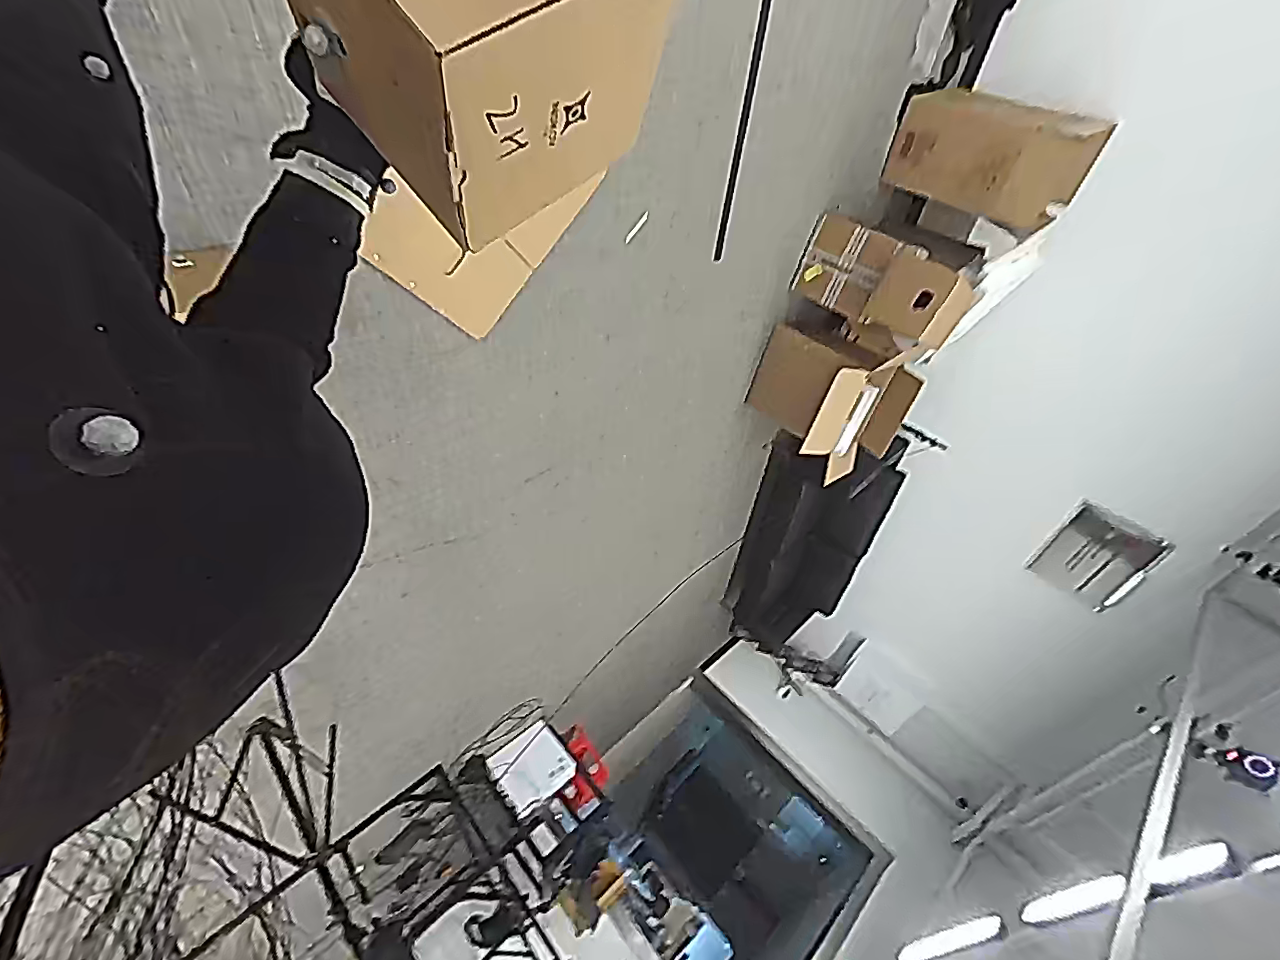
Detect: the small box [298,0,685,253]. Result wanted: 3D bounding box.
[{"bbox_3d":[-0.096,-0.298,0.351,0.179,0.176,0.168,-41,-179,-16],"label":"small box"}]
